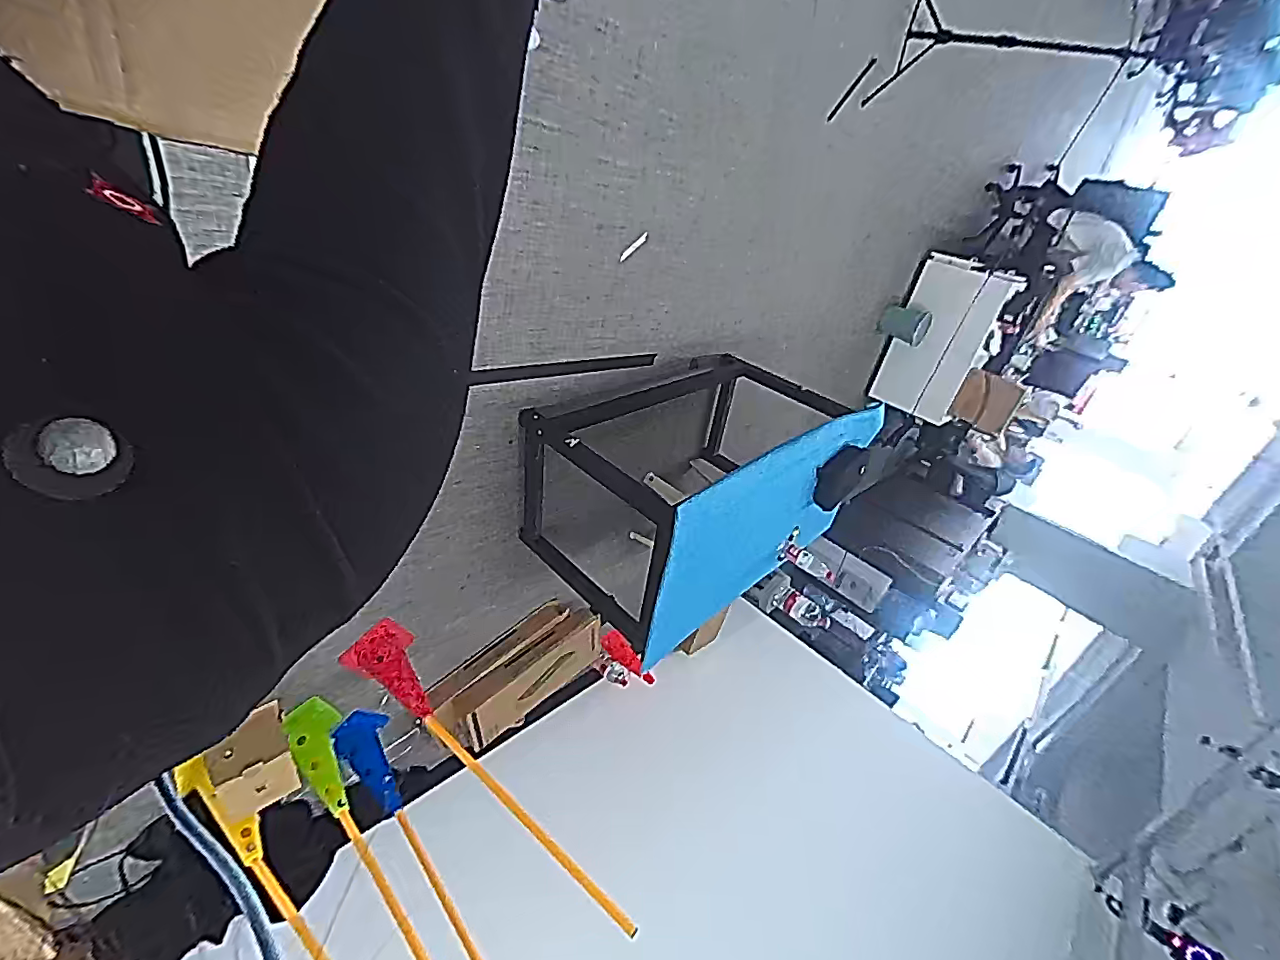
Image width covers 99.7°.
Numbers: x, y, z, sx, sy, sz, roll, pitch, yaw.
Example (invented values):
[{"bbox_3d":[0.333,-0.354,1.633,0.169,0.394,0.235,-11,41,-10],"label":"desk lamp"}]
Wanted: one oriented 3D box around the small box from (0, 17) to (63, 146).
[{"bbox_3d":[-0.951,-0.562,0.721,0.168,0.176,0.179,-59,135,-30],"label":"small box"}]
